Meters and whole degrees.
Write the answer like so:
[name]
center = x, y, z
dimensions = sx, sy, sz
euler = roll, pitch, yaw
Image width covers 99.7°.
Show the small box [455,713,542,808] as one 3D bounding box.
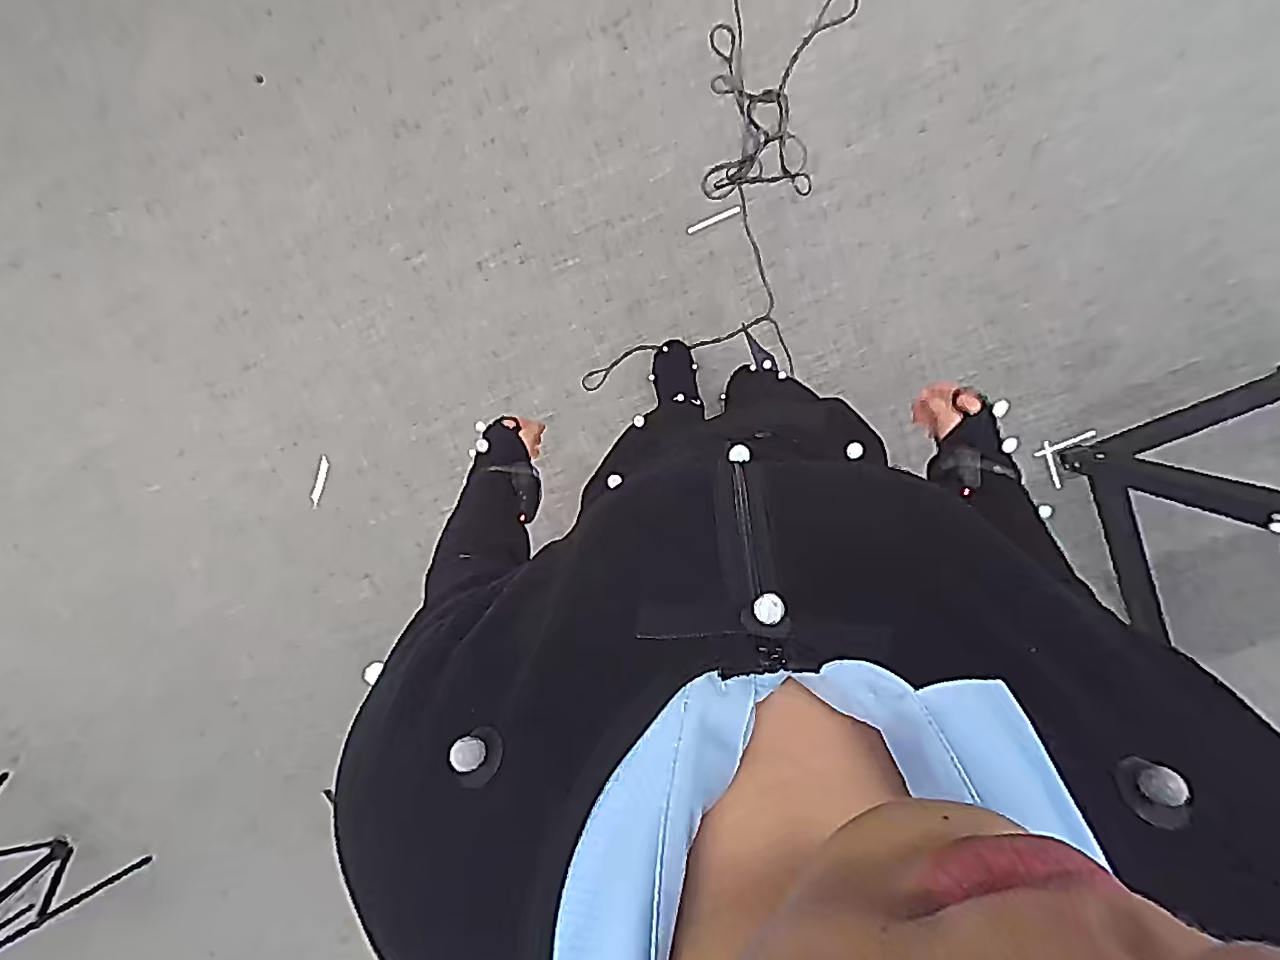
[small box]
center = -0.414, 0.830, 1.612
dimensions = 0.179, 0.176, 0.168
euler = -18, 103, 7
